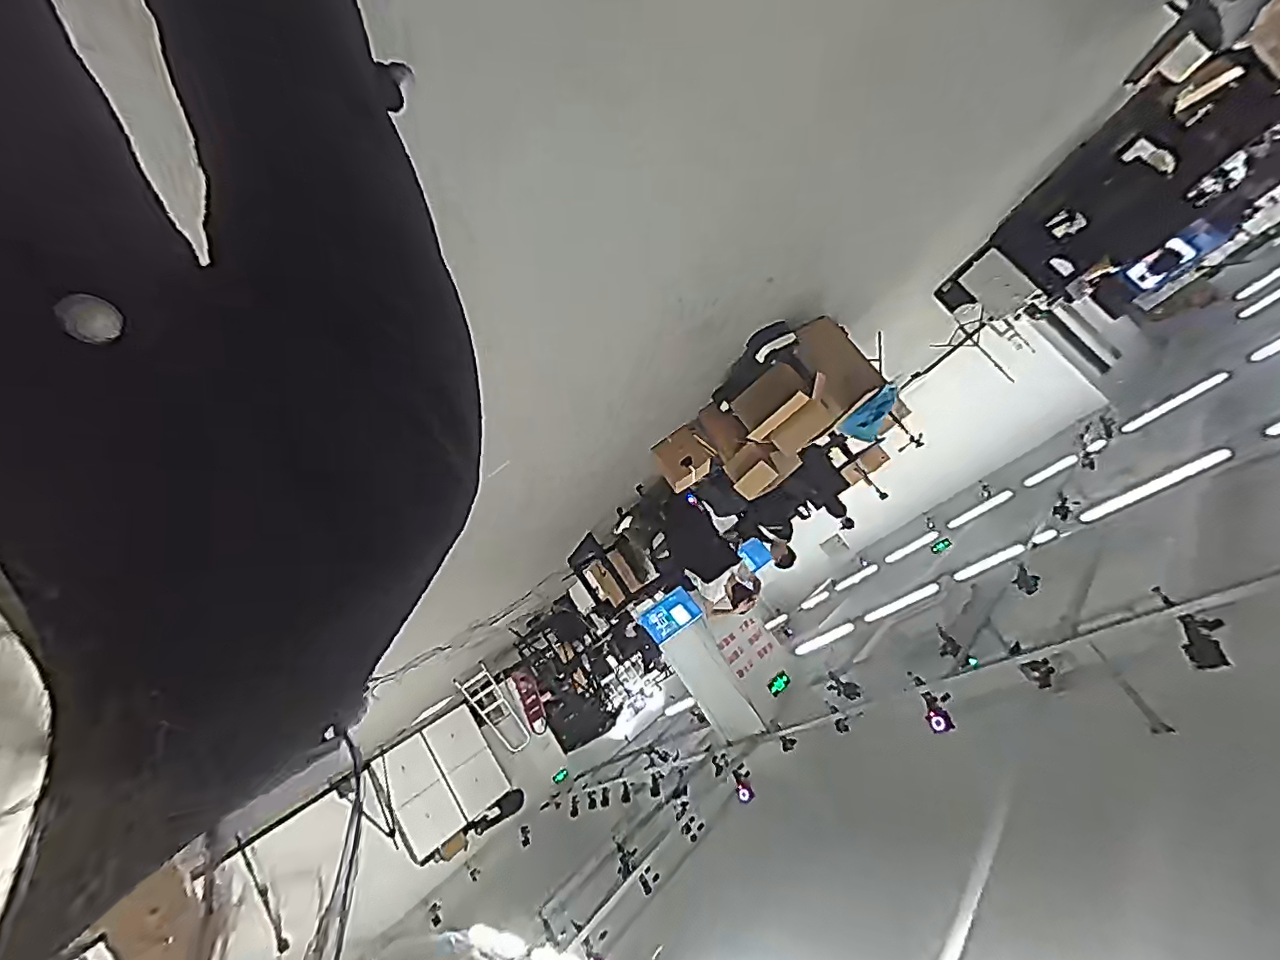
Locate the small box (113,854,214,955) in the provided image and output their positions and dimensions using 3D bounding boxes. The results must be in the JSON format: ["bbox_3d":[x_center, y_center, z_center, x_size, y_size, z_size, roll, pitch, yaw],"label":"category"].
[{"bbox_3d":[-1.424,1.261,1.622,0.179,0.176,0.168,-24,161,-40],"label":"small box"}]

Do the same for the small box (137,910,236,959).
[{"bbox_3d":[-1.324,1.405,1.585,0.168,0.176,0.179,-27,163,-39],"label":"small box"}]
